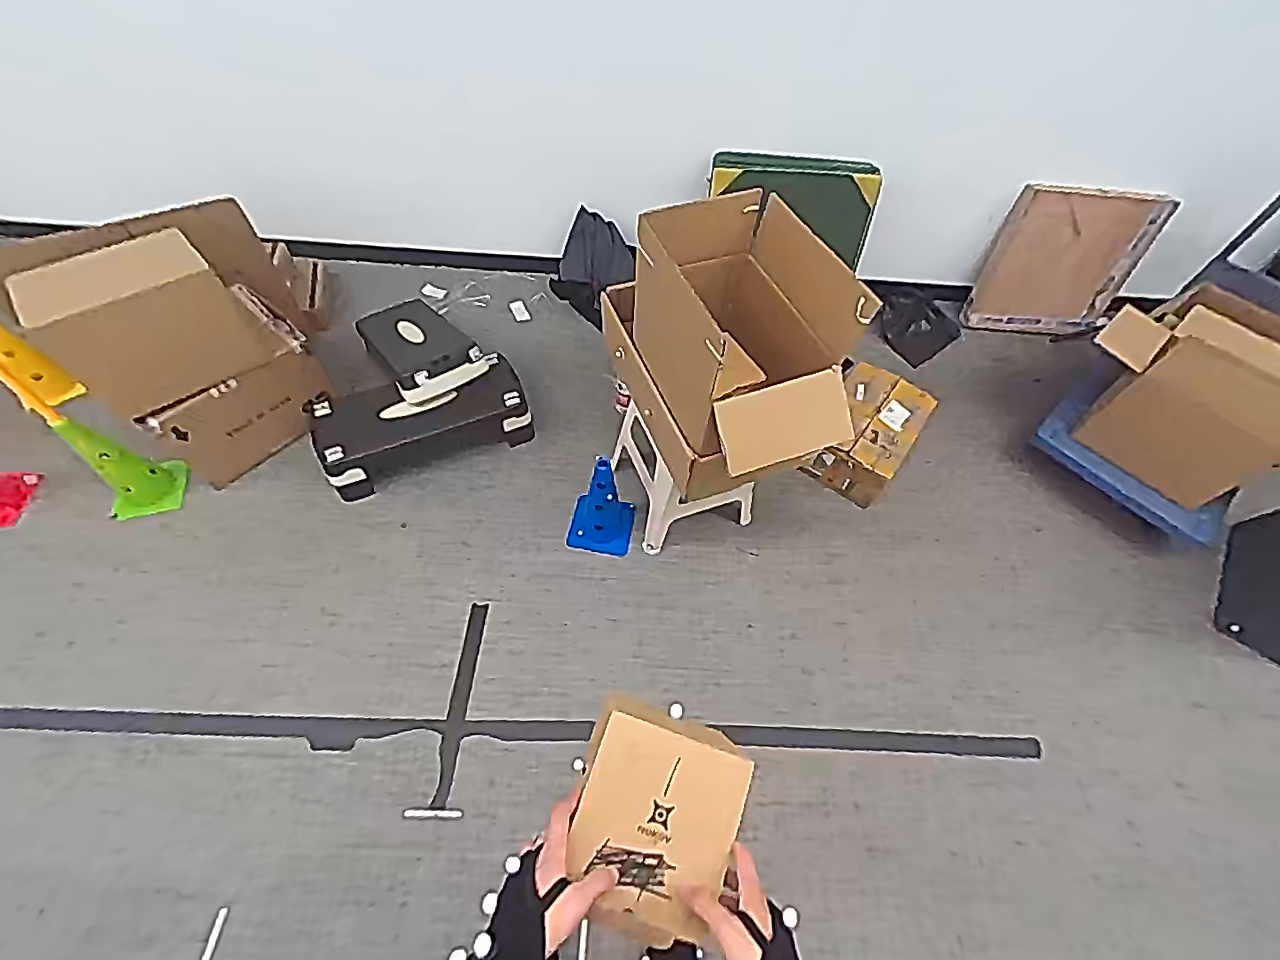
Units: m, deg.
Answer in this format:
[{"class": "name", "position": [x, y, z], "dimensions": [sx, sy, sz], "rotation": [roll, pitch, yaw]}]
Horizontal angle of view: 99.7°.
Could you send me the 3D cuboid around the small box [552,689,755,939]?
[{"class": "small box", "position": [0.011, 0.365, 0.629], "dimensions": [0.168, 0.176, 0.179], "rotation": [21, 74, -1]}]
